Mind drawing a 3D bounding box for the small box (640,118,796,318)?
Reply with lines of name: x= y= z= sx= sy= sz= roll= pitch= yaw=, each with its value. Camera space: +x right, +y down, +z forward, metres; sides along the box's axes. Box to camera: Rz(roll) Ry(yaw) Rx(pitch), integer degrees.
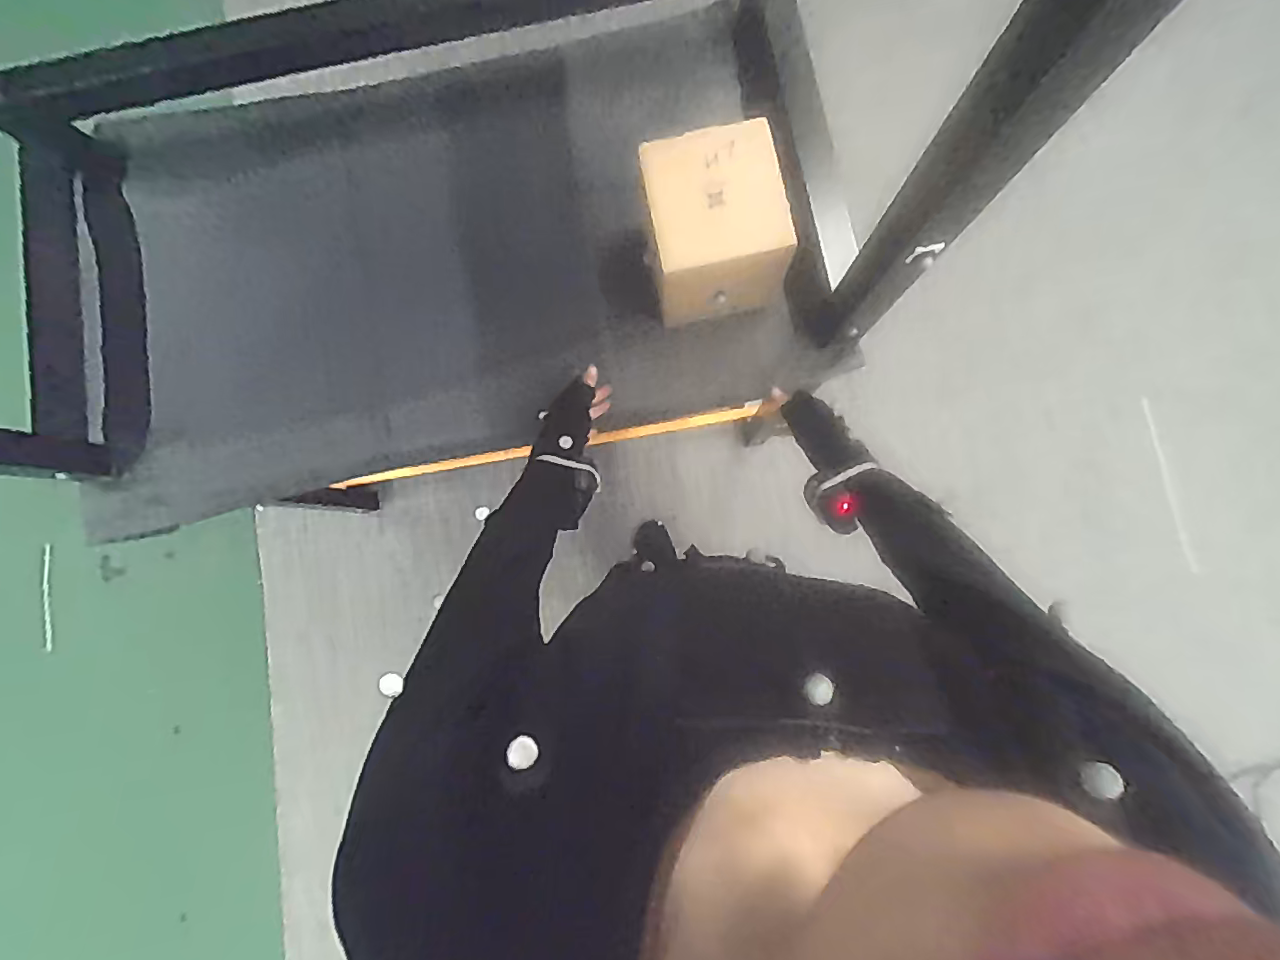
small box: x=0.100 y=-0.340 z=0.741 sx=0.168 sy=0.176 sz=0.179 roll=-11 pitch=82 yaw=2
